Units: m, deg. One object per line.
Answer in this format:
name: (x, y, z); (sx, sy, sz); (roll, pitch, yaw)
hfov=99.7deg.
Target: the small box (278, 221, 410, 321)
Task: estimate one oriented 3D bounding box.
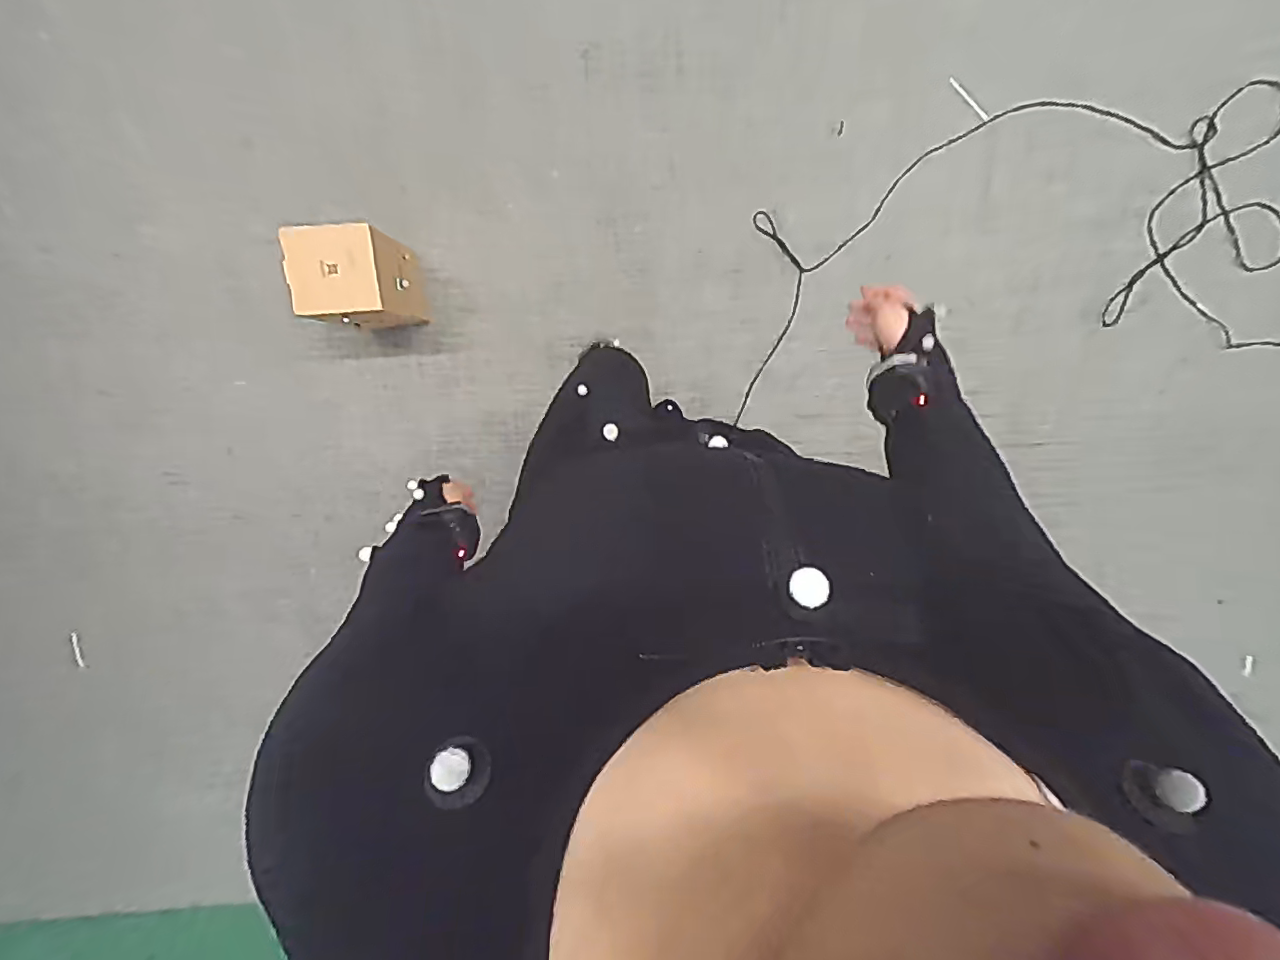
small box: (-0.611, -0.430, 1.135); (0.179, 0.176, 0.168); (-5, 101, -3)
